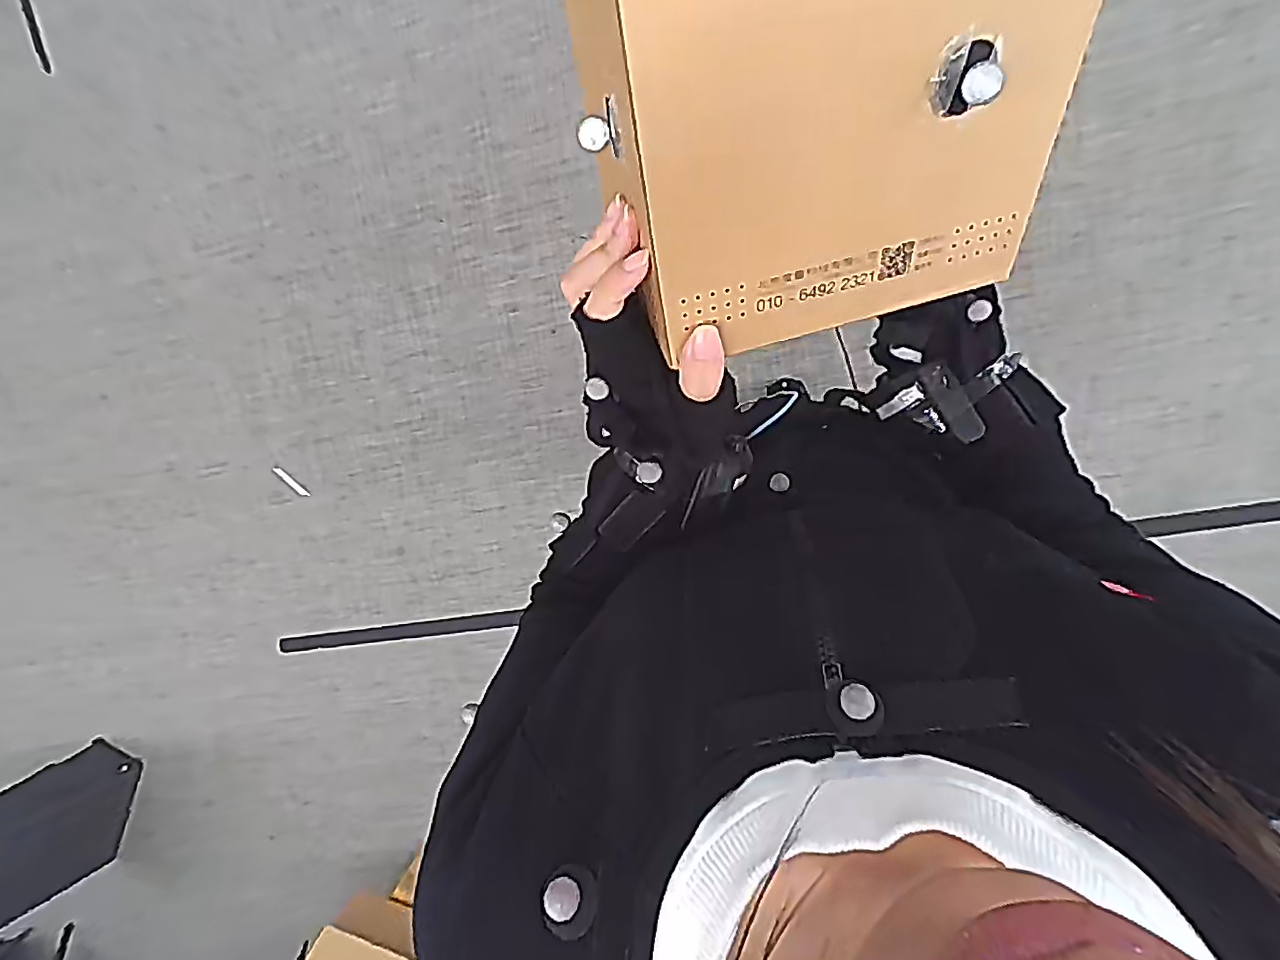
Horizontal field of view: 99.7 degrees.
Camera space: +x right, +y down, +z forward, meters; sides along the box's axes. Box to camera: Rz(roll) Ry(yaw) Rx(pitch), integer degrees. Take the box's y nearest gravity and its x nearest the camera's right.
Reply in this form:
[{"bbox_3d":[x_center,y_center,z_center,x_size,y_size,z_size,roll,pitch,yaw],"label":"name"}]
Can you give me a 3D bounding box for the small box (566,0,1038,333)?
[{"bbox_3d":[0.063,-0.191,0.272,0.168,0.179,0.176,-15,135,-2],"label":"small box"}]
